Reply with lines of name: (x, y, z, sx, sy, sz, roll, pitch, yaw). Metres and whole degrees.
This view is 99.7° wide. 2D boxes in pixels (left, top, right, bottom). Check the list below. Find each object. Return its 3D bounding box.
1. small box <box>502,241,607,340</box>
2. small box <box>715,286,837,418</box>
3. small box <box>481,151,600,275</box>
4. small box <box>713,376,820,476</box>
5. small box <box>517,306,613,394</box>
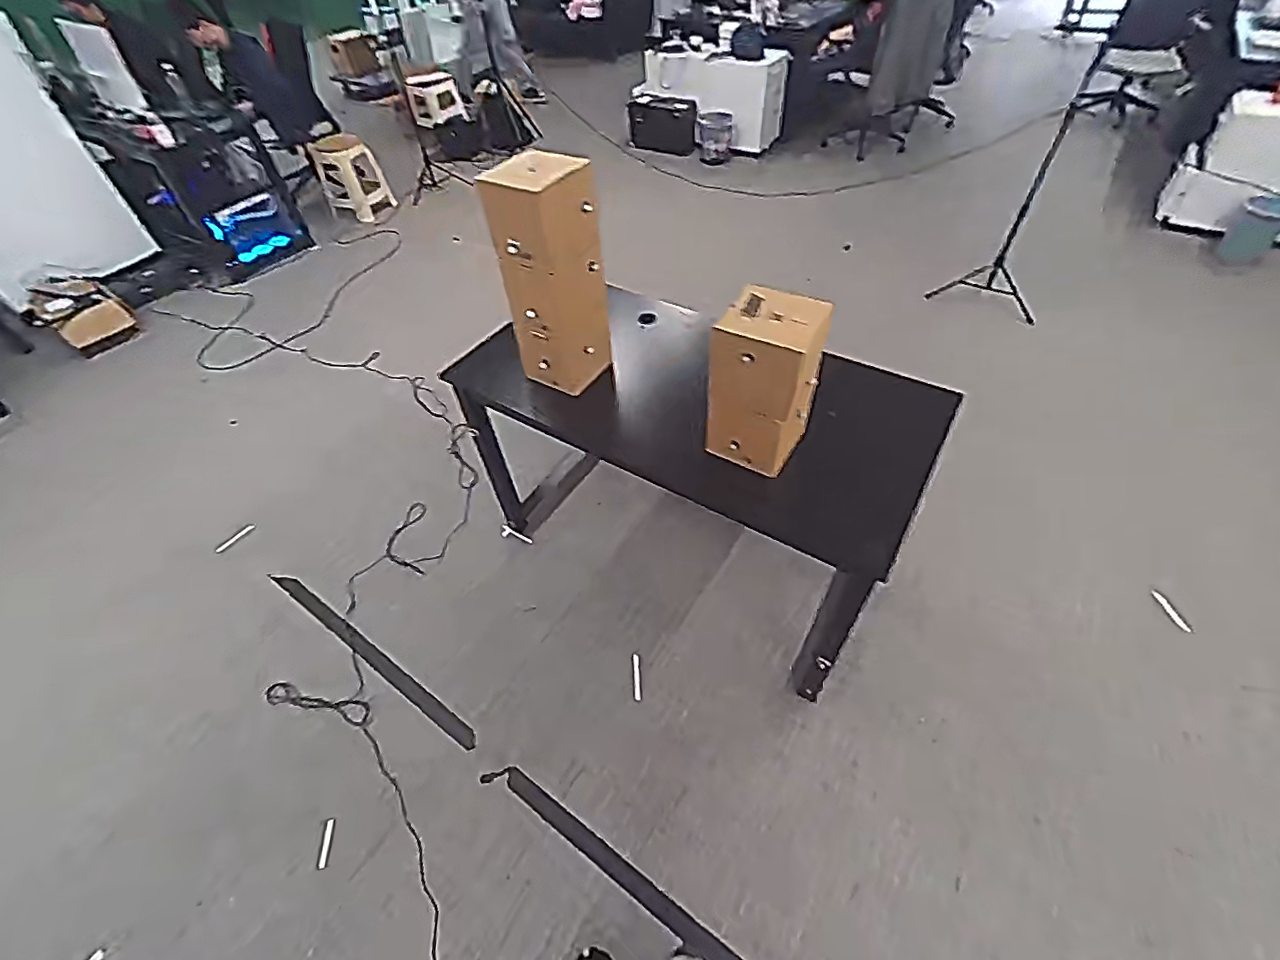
small box: (-0.190, -0.457, 1.262, 0.168, 0.176, 0.179, 24, 55, 23)
small box: (0.255, -0.246, 1.049, 0.179, 0.176, 0.168, 22, 55, 21)
small box: (-0.198, -0.562, 1.138, 0.168, 0.176, 0.179, 23, 55, 24)
small box: (0.268, -0.143, 1.177, 0.168, 0.176, 0.179, 25, 56, 23)
small box: (-0.182, -0.348, 1.386, 0.168, 0.176, 0.179, 24, 55, 22)
